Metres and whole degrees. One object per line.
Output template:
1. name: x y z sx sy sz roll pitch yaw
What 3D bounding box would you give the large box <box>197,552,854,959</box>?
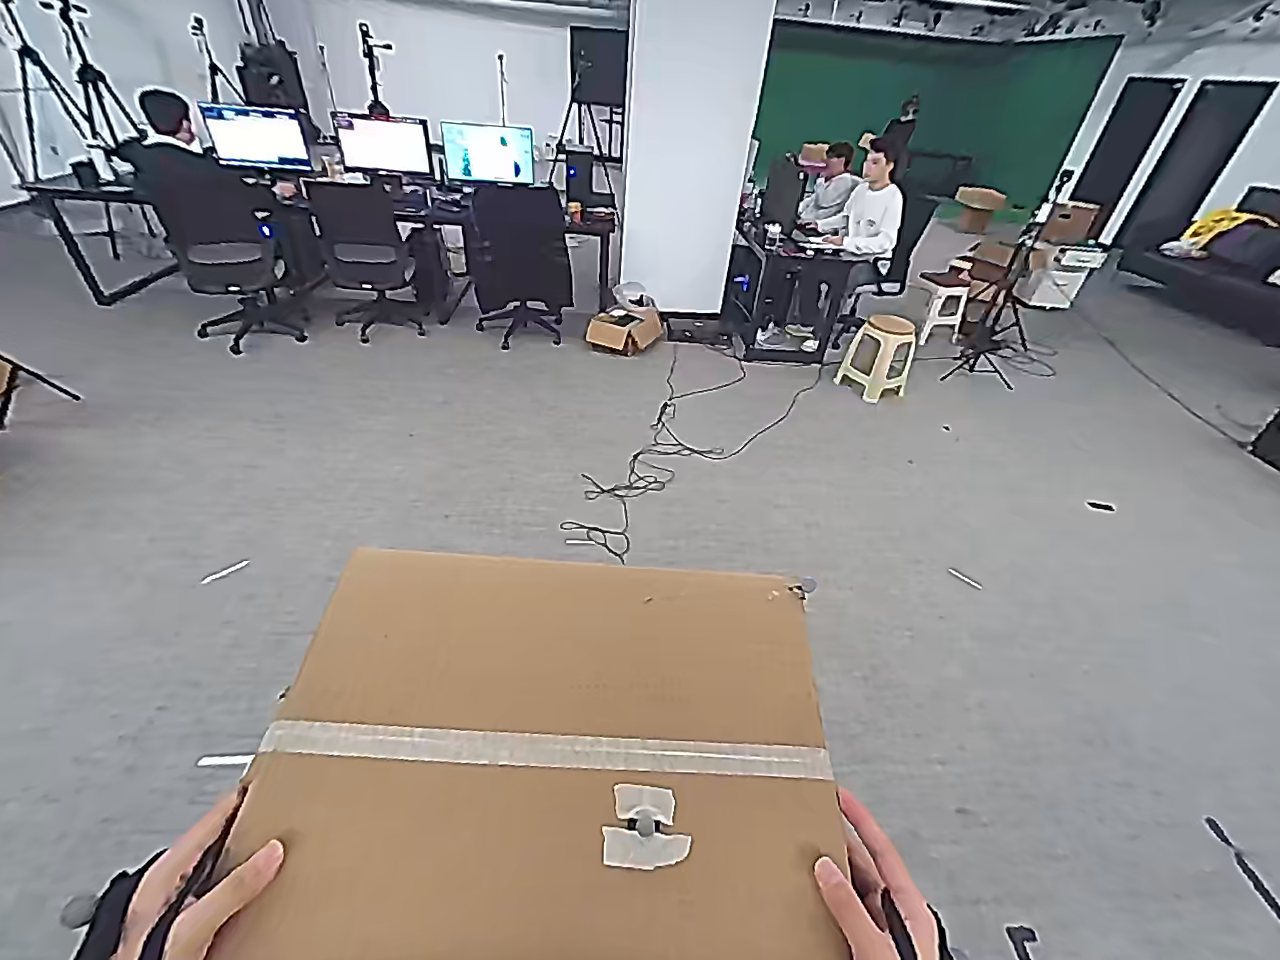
1. large box: -0.072 0.290 0.519 0.408 0.320 0.320 5 52 -2
